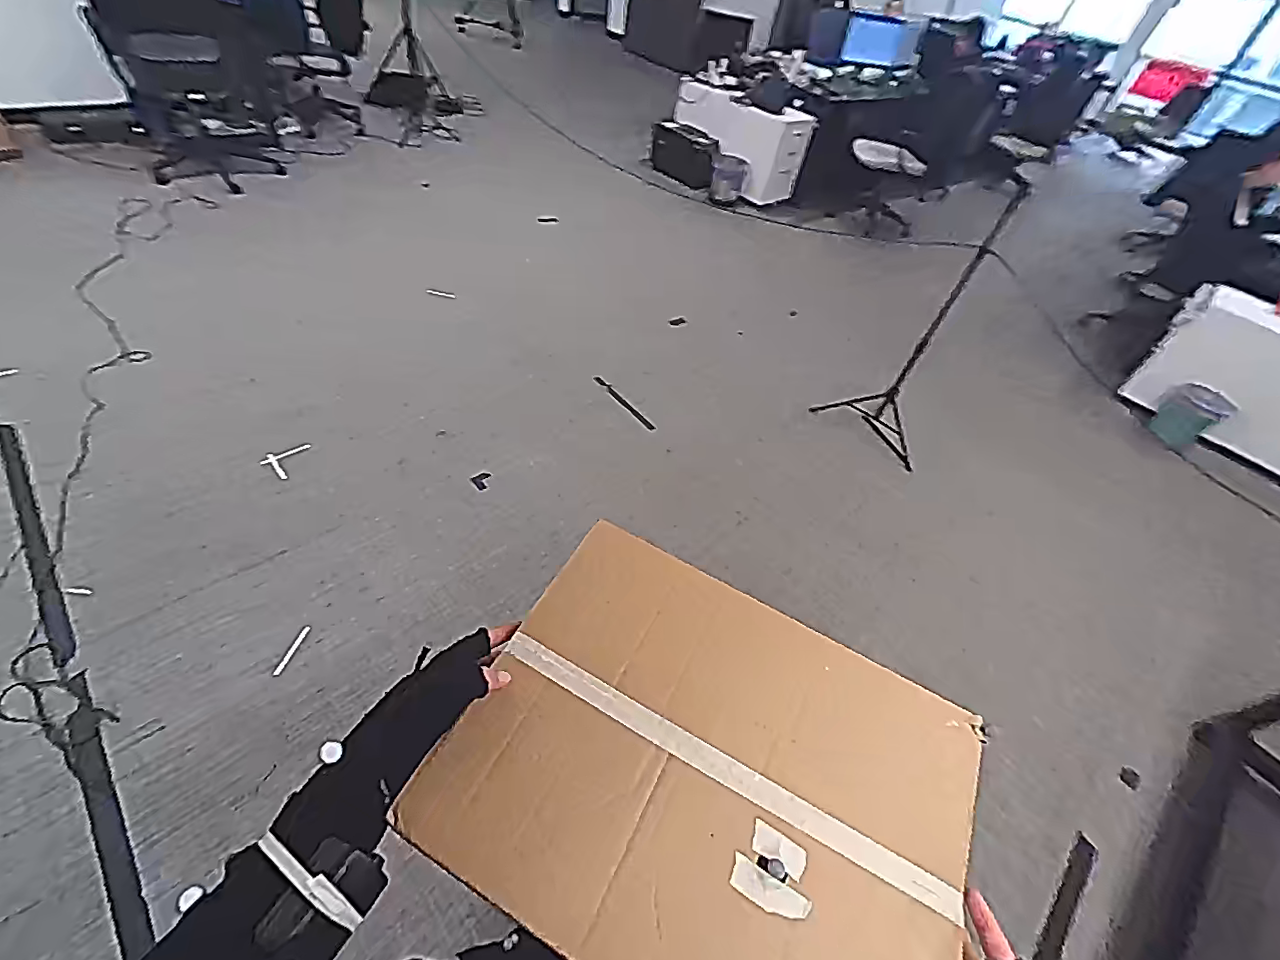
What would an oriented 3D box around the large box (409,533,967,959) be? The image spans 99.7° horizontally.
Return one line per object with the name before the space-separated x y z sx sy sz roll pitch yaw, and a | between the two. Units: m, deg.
large box | 0.045 0.329 0.575 0.408 0.320 0.320 27 54 12
